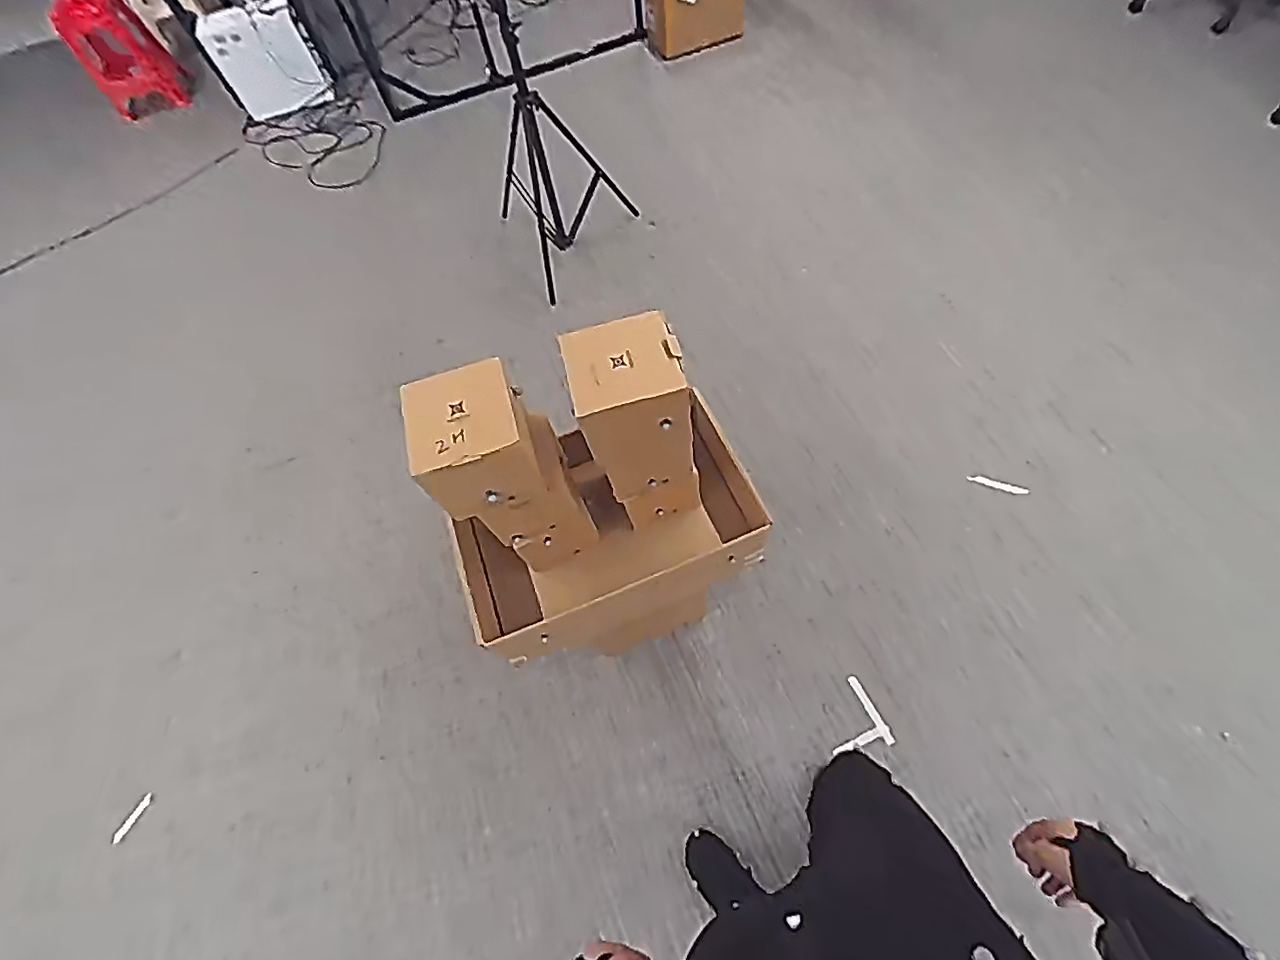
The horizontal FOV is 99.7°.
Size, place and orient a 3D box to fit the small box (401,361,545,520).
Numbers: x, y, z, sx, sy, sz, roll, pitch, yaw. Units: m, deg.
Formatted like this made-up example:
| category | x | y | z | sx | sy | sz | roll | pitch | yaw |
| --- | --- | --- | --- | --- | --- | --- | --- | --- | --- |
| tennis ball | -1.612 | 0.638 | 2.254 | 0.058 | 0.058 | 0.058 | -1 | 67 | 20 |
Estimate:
| category | x | y | z | sx | sy | sz | roll | pitch | yaw |
| --- | --- | --- | --- | --- | --- | --- | --- | --- | --- |
| small box | -0.269 | -0.059 | 0.890 | 0.168 | 0.176 | 0.179 | -18 | 64 | -3 |

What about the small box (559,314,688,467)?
| category | x | y | z | sx | sy | sz | roll | pitch | yaw |
| --- | --- | --- | --- | --- | --- | --- | --- | --- | --- |
| small box | -0.021 | -0.143 | 0.909 | 0.179 | 0.176 | 0.168 | -15 | 64 | 1 |
